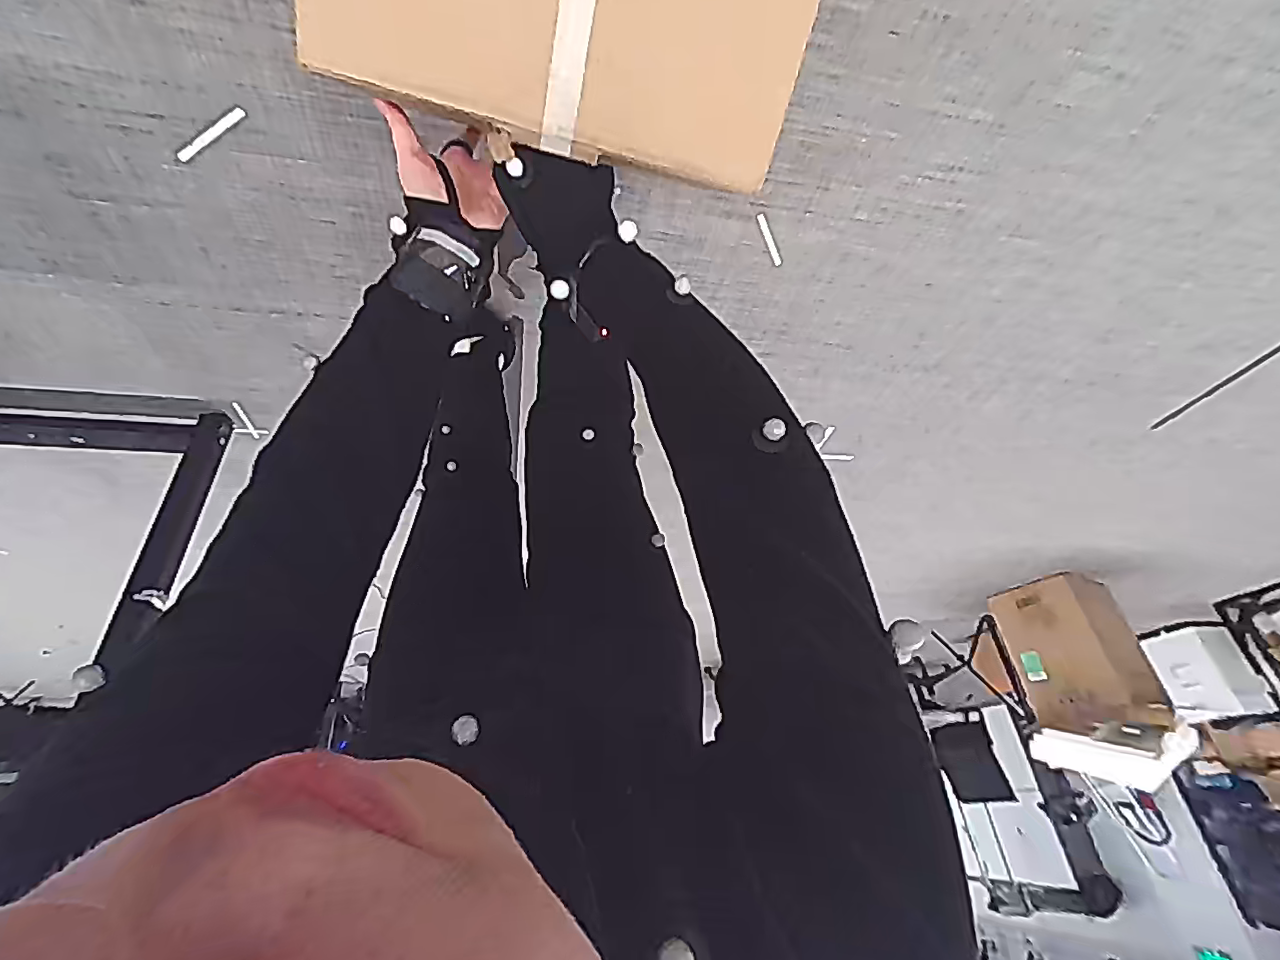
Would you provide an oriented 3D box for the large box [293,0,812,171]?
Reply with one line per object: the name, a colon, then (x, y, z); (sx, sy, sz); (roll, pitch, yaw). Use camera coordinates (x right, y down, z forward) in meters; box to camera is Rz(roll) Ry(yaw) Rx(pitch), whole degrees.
large box: (-0.039, -0.483, 0.396); (0.320, 0.320, 0.408); (7, 118, -15)
